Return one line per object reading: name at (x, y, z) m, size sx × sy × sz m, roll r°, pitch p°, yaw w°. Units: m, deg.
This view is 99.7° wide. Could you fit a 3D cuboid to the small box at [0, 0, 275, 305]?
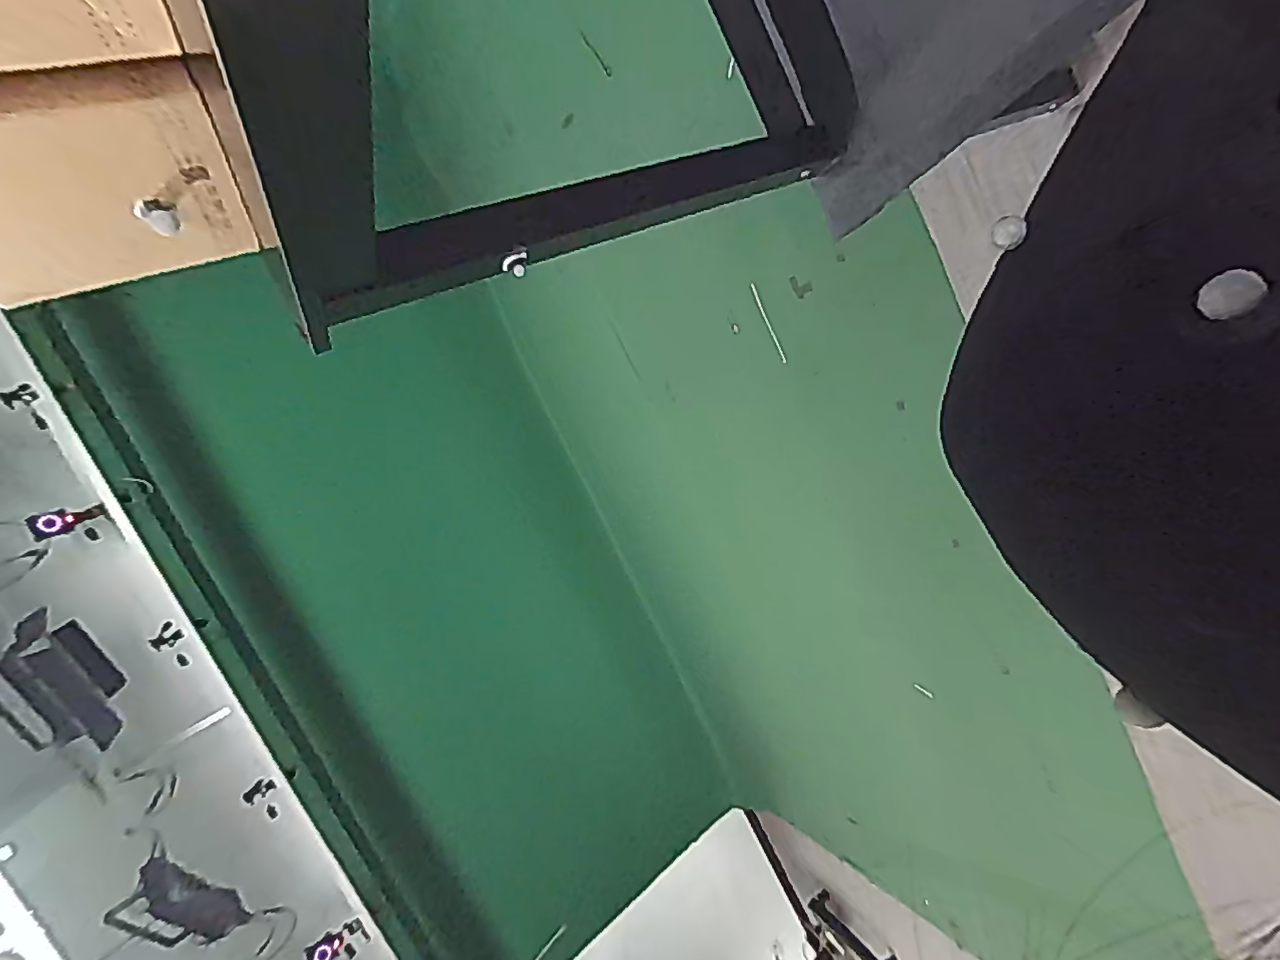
small box at (-0.366, -0.242, 0.334) m, size 0.179 × 0.176 × 0.168 m, roll 62°, pitch 154°, yaw -5°
